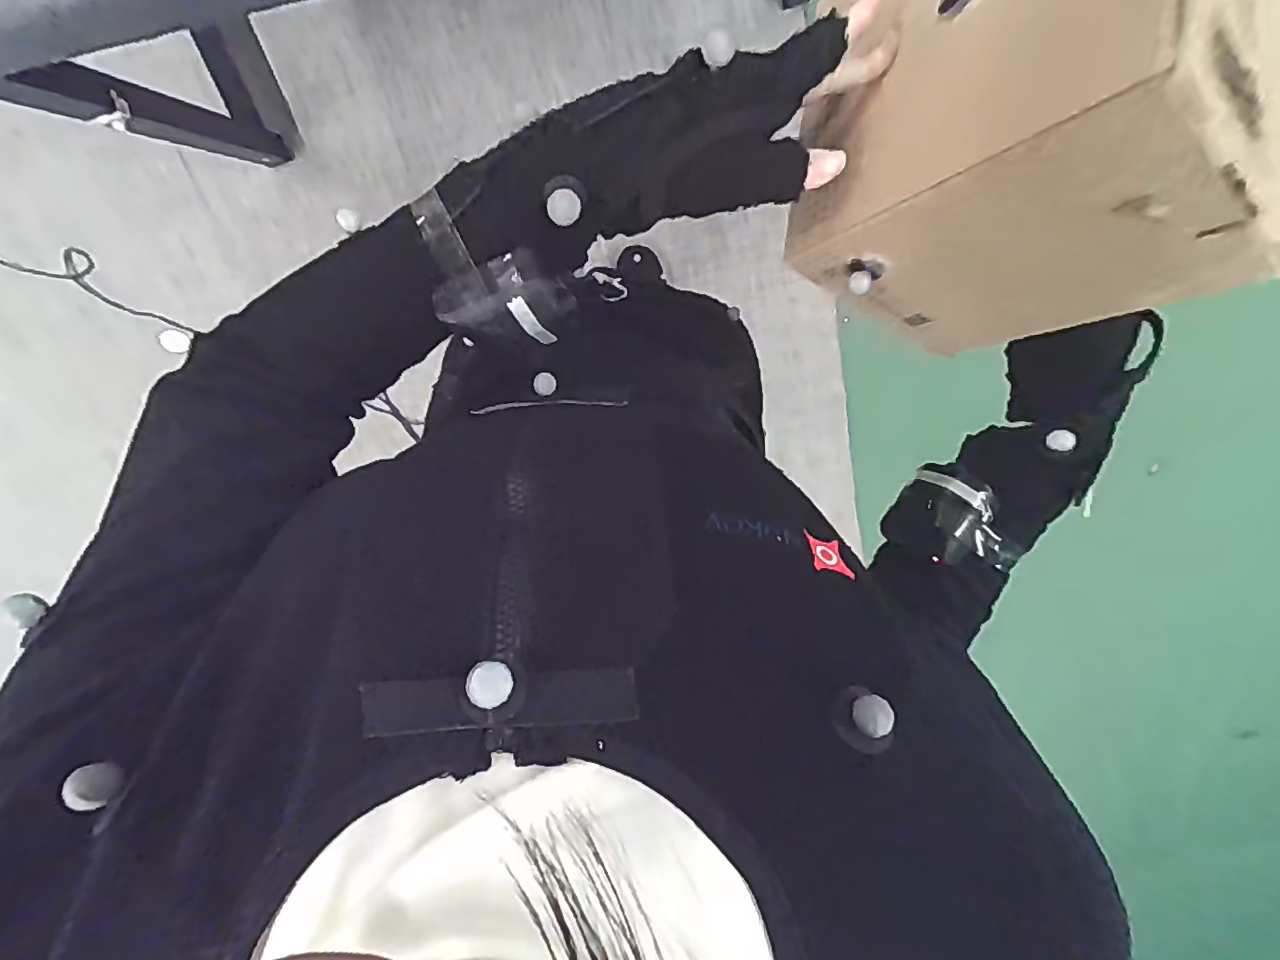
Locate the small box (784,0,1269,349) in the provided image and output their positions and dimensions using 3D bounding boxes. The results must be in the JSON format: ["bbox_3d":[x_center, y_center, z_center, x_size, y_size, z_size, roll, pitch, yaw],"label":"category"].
[{"bbox_3d":[0.201,-0.193,0.299,0.168,0.176,0.179,15,79,-32],"label":"small box"}]
